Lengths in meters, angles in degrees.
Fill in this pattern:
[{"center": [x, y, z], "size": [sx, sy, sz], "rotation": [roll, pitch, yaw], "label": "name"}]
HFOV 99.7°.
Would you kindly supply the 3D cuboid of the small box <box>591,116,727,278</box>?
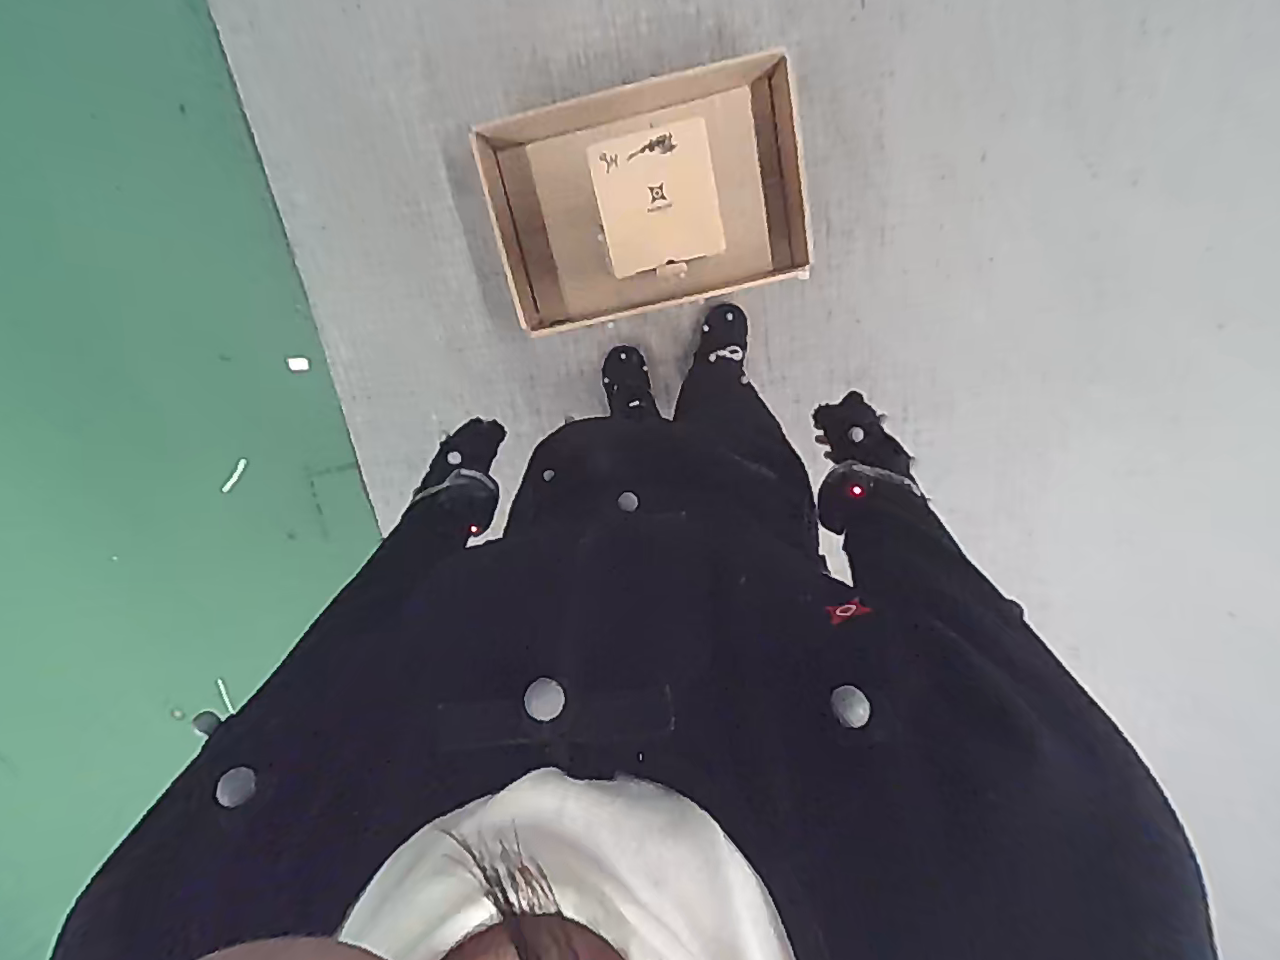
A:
[{"center": [0.030, -0.419, 0.830], "size": [0.168, 0.176, 0.179], "rotation": [-12, 109, 4], "label": "small box"}]
